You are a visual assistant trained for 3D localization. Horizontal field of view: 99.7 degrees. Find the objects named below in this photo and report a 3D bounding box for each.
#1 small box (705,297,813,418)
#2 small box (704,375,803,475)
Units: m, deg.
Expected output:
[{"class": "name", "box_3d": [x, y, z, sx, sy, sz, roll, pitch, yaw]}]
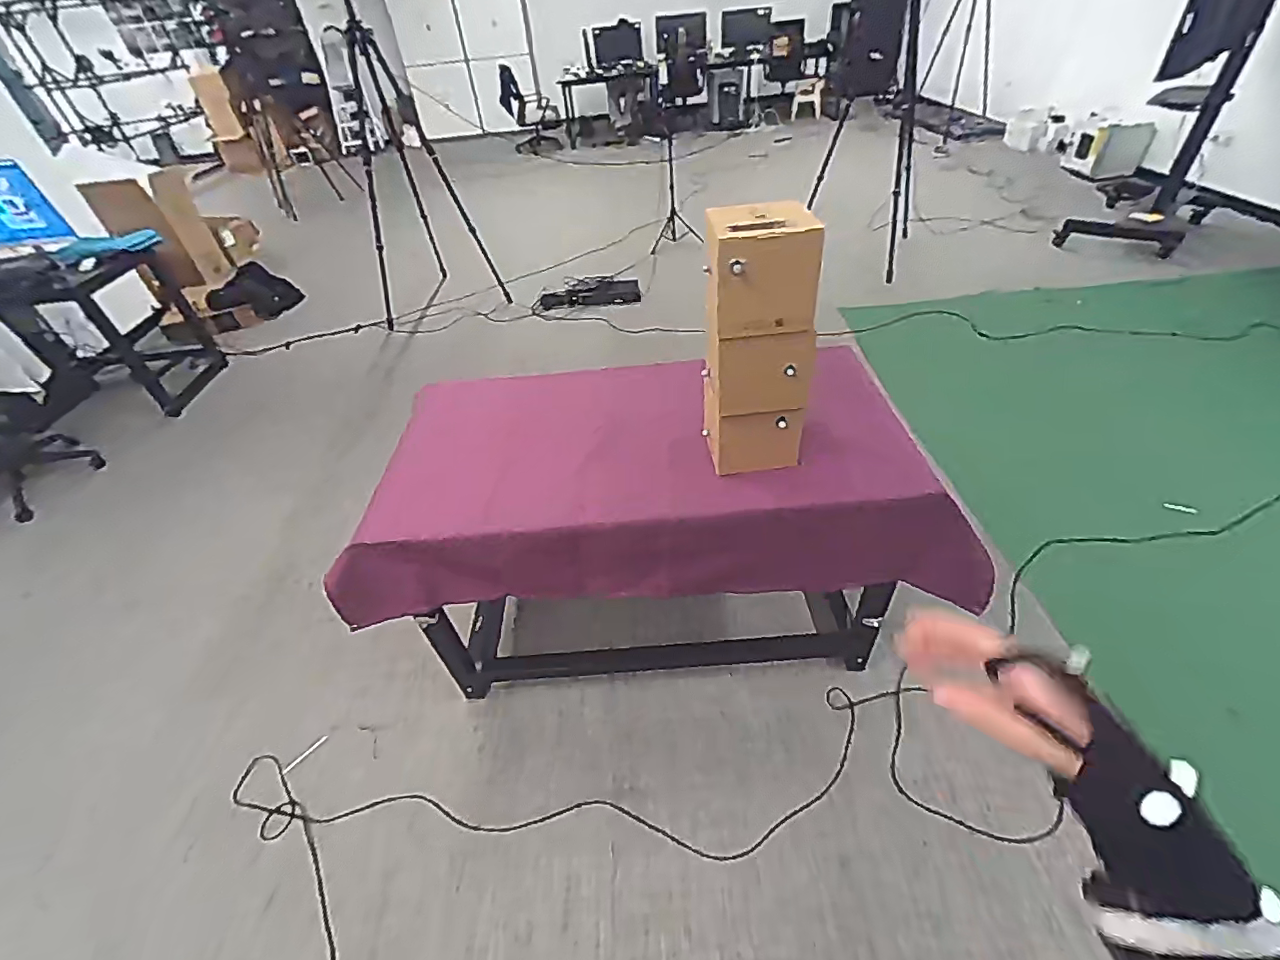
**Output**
[{"class": "small box", "box_3d": [0.223, -0.239, 1.065, 0.179, 0.176, 0.168, -6, 40, 2]}, {"class": "small box", "box_3d": [0.238, -0.128, 1.184, 0.179, 0.176, 0.168, -7, 40, 0]}]
